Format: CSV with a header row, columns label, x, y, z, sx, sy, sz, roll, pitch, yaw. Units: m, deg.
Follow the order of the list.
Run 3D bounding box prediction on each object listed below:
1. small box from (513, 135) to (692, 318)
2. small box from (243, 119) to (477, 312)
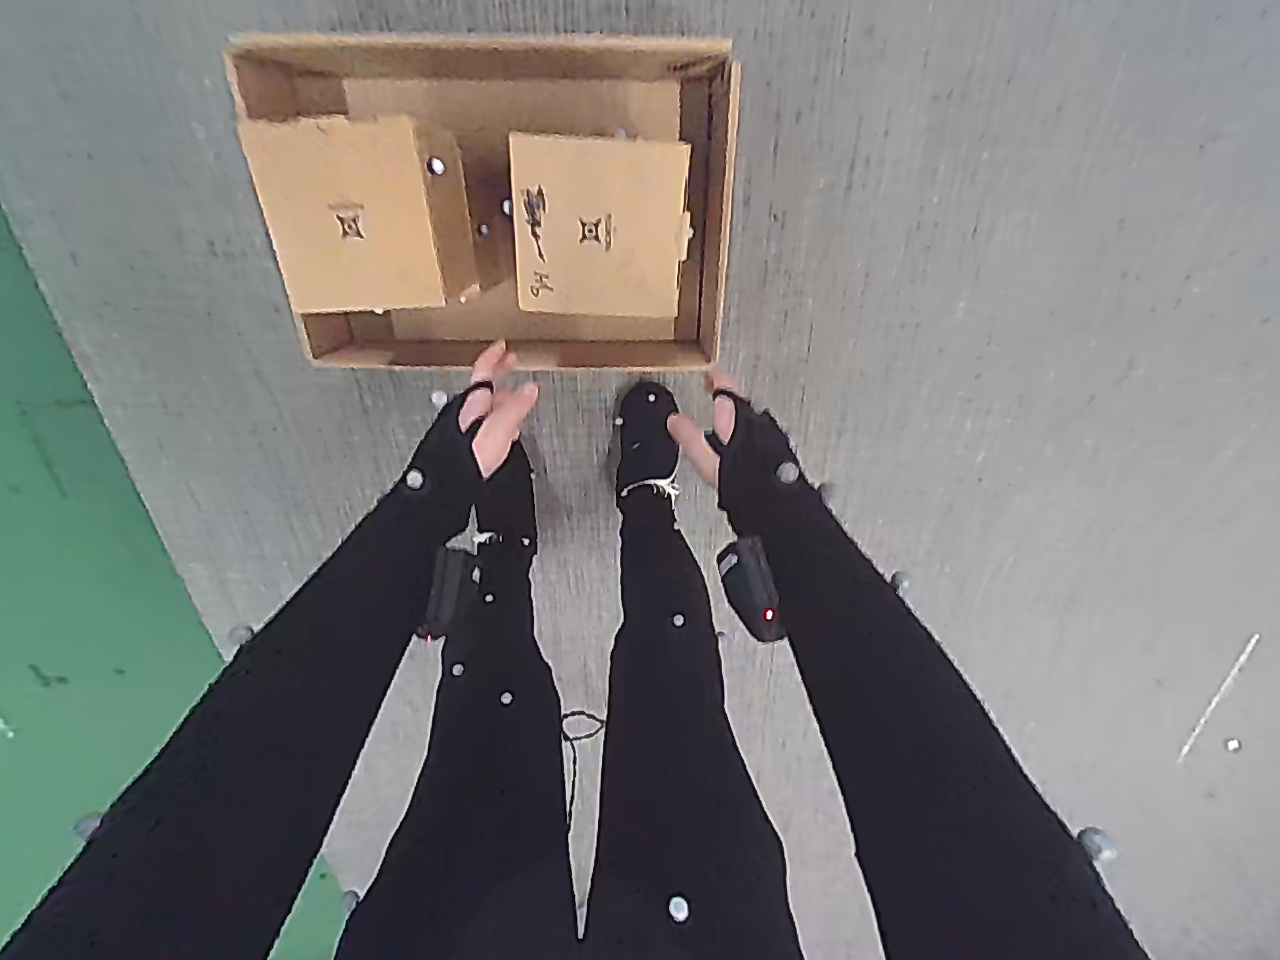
label,x,y,z,sx,sy,sz,roll,pitch,yaw
small box,-0.042,-0.293,0.628,0.179,0.176,0.168,2,117,-2
small box,-0.298,-0.301,0.626,0.168,0.176,0.179,-3,116,-1
